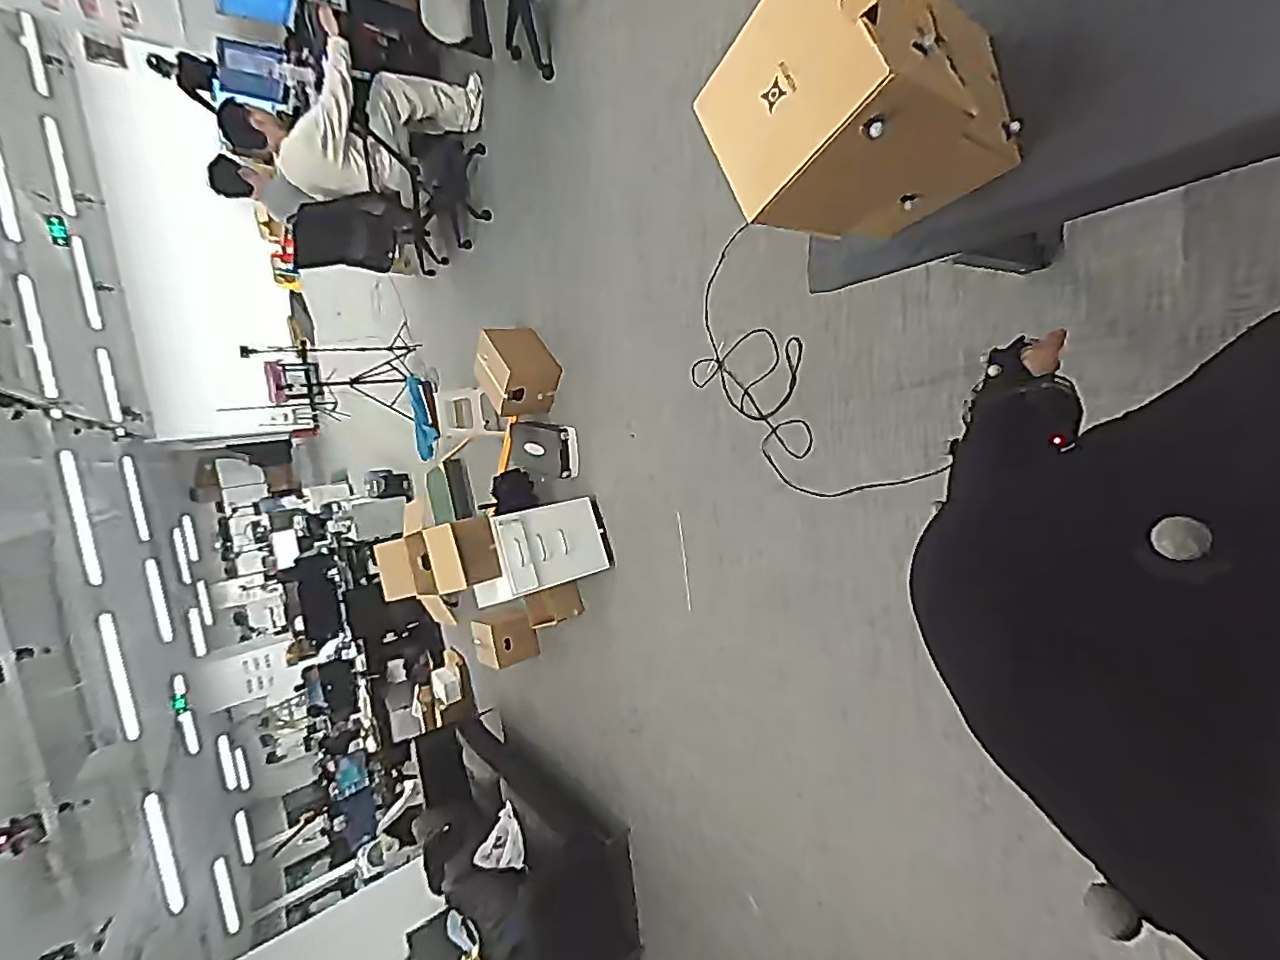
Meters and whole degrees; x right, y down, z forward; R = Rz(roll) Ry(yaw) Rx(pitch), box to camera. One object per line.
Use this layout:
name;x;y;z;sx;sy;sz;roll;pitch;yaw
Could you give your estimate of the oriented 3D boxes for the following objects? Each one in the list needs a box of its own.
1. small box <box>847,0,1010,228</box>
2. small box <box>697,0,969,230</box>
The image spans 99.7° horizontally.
small box;0.321;-0.434;0.664;0.179;0.176;0.168;-16;88;54
small box;0.197;-0.391;0.568;0.179;0.176;0.168;-35;72;51
